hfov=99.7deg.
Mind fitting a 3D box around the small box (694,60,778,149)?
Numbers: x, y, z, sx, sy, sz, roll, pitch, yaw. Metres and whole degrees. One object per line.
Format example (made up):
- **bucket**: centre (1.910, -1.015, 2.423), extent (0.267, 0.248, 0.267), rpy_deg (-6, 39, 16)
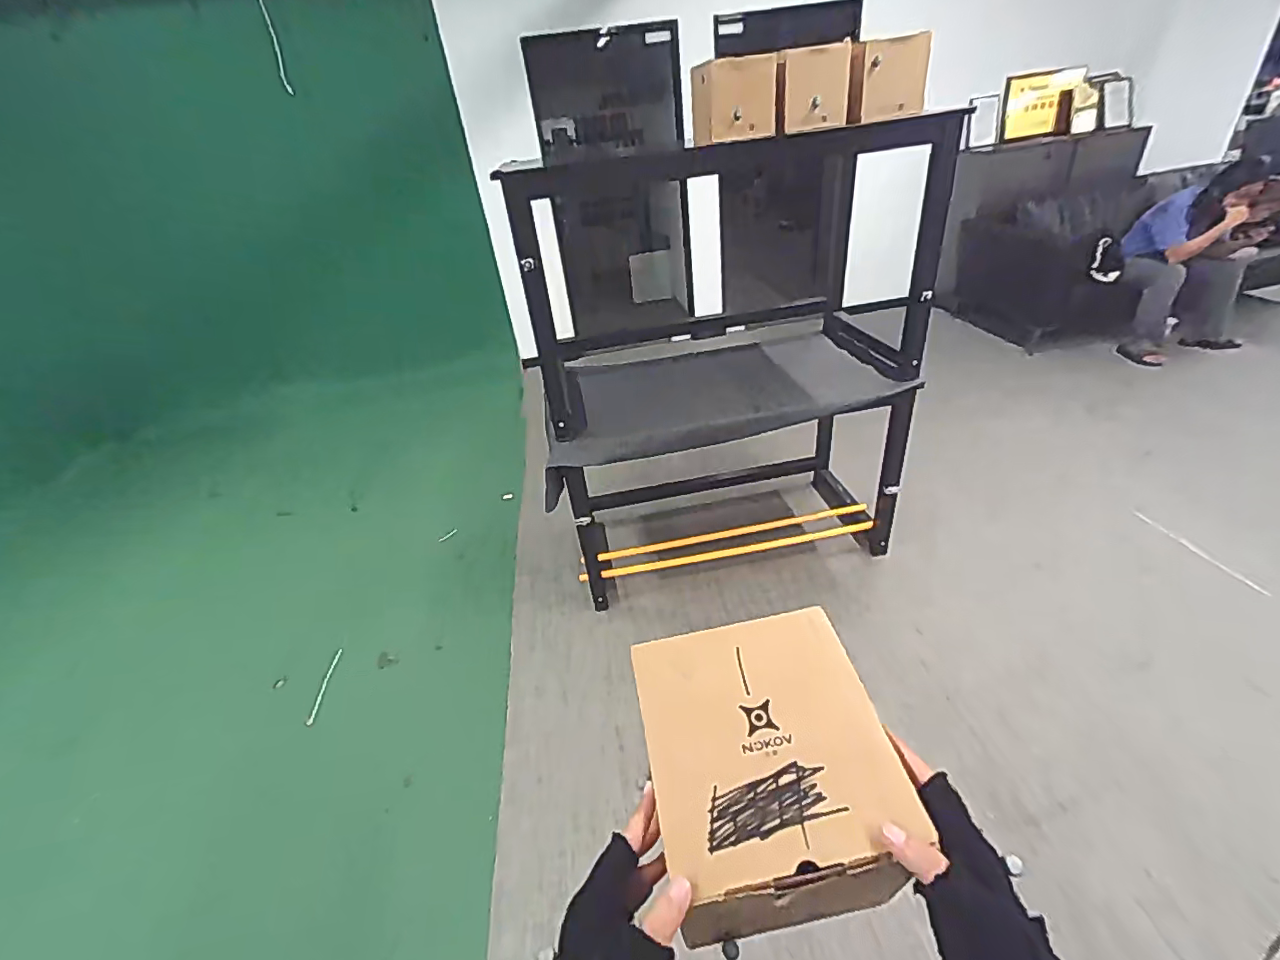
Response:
- **small box**: centre (0.237, -0.945, 1.372), extent (0.168, 0.176, 0.179), rpy_deg (-10, 33, -5)
